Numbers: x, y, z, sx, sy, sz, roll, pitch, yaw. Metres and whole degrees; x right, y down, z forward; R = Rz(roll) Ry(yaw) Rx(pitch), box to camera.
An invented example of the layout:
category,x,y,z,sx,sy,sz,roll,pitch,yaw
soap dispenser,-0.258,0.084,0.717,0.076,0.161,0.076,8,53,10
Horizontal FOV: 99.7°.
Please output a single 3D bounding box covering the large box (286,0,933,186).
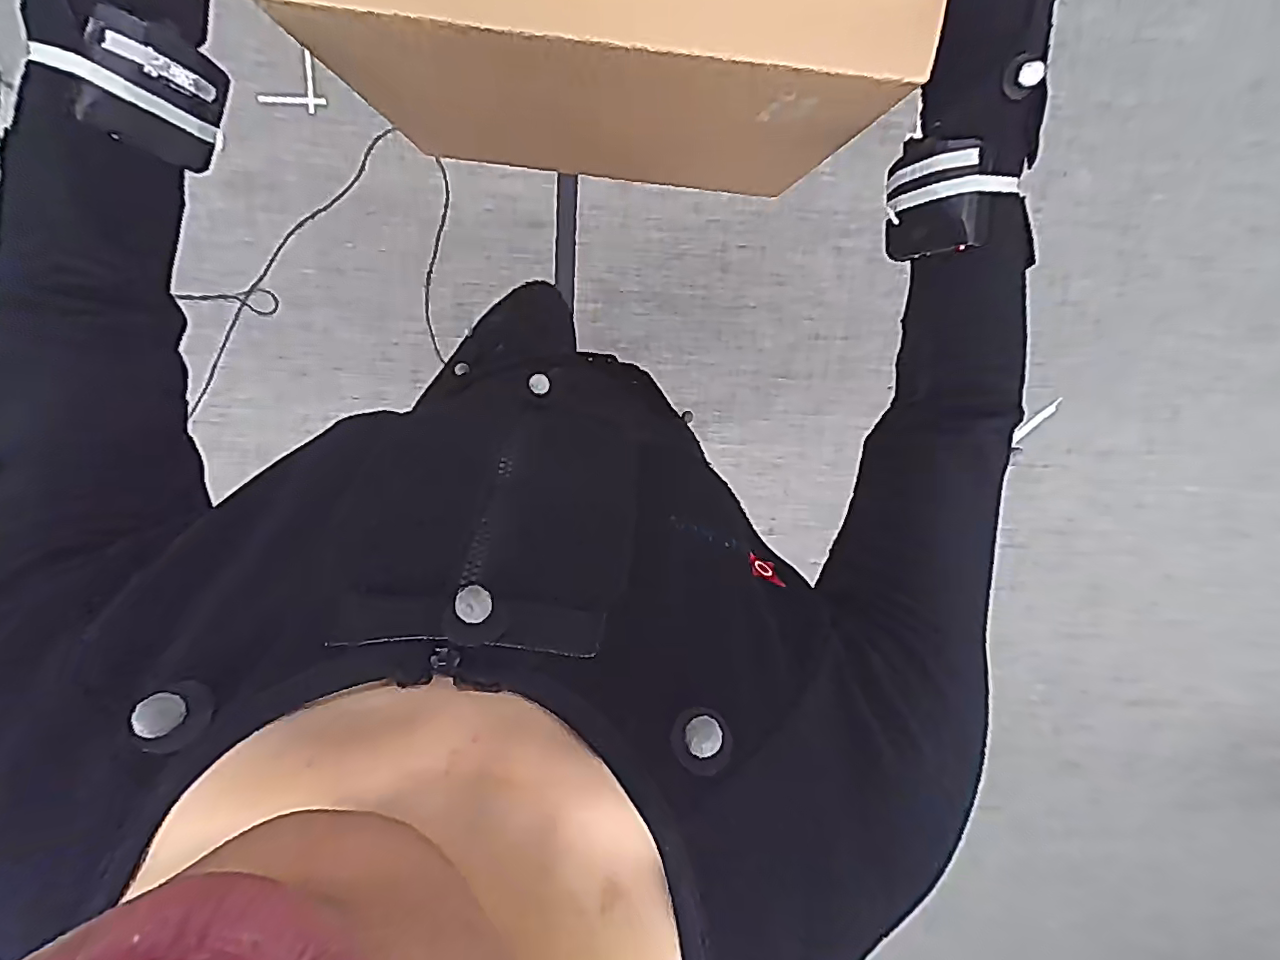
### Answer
category,x,y,z,sx,sy,sz,roll,pitch,yaw
large box,-0.017,-0.456,0.431,0.408,0.320,0.320,4,106,-5
